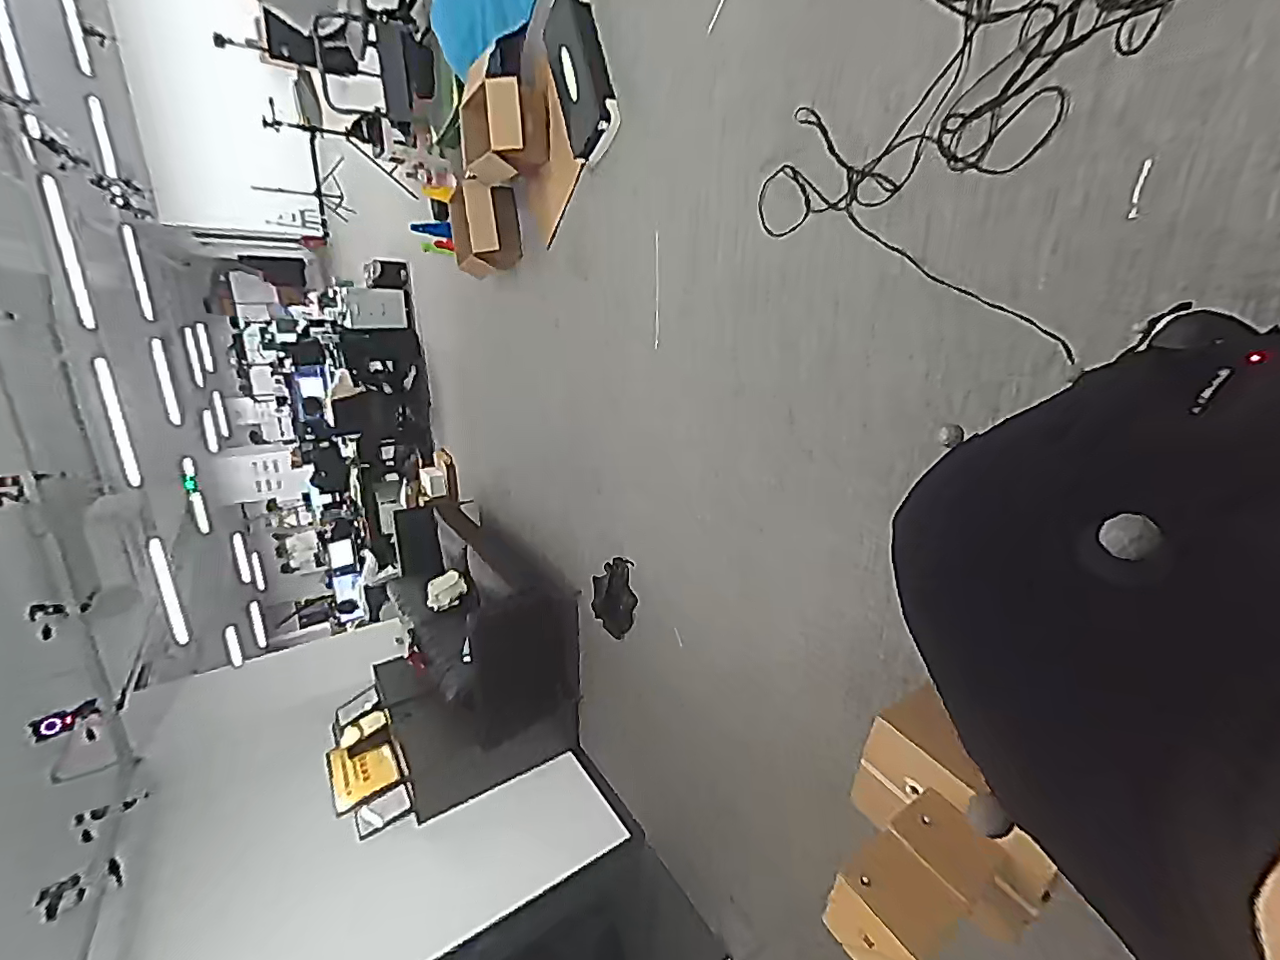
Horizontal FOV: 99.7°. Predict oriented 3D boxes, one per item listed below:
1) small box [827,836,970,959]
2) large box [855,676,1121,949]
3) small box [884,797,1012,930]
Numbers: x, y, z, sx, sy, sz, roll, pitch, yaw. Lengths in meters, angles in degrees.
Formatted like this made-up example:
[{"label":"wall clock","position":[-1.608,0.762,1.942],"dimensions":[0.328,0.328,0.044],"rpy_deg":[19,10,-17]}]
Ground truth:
[{"label":"small box","position":[0.504,0.855,1.058],"dimensions":[0.179,0.176,0.168],"rpy_deg":[34,128,49]},{"label":"large box","position":[0.814,0.762,1.306],"dimensions":[0.408,0.320,0.320],"rpy_deg":[34,126,49]},{"label":"small box","position":[0.636,0.812,1.143],"dimensions":[0.179,0.176,0.168],"rpy_deg":[34,128,47]}]
